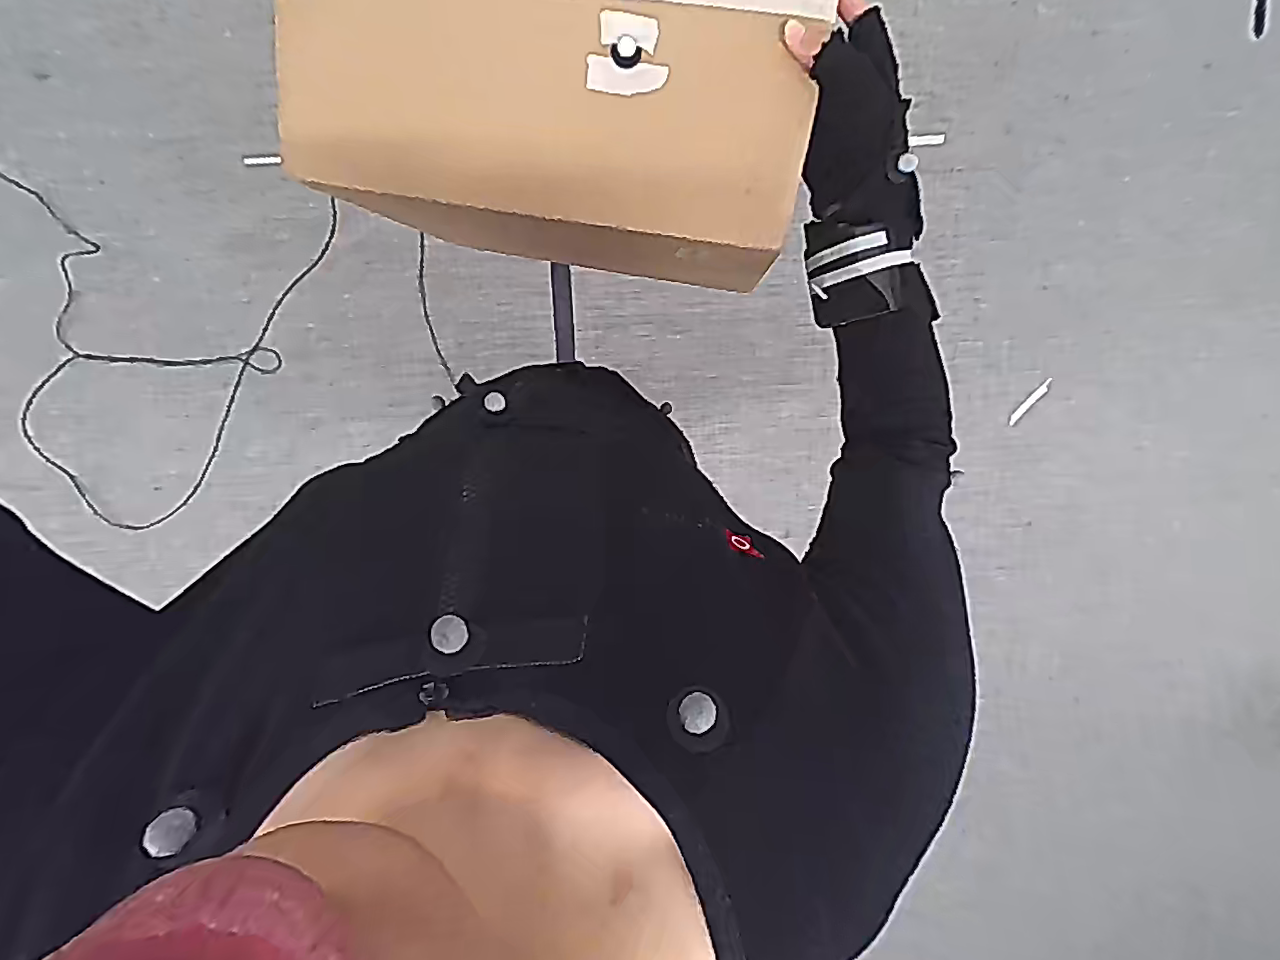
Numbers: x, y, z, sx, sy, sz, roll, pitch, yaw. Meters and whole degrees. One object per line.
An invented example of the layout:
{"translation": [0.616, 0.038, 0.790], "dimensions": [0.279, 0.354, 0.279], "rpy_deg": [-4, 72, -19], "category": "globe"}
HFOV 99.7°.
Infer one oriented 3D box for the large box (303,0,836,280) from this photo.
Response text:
{"translation": [-0.043, -0.402, 0.538], "dimensions": [0.408, 0.320, 0.320], "rpy_deg": [10, 106, 4], "category": "large box"}
